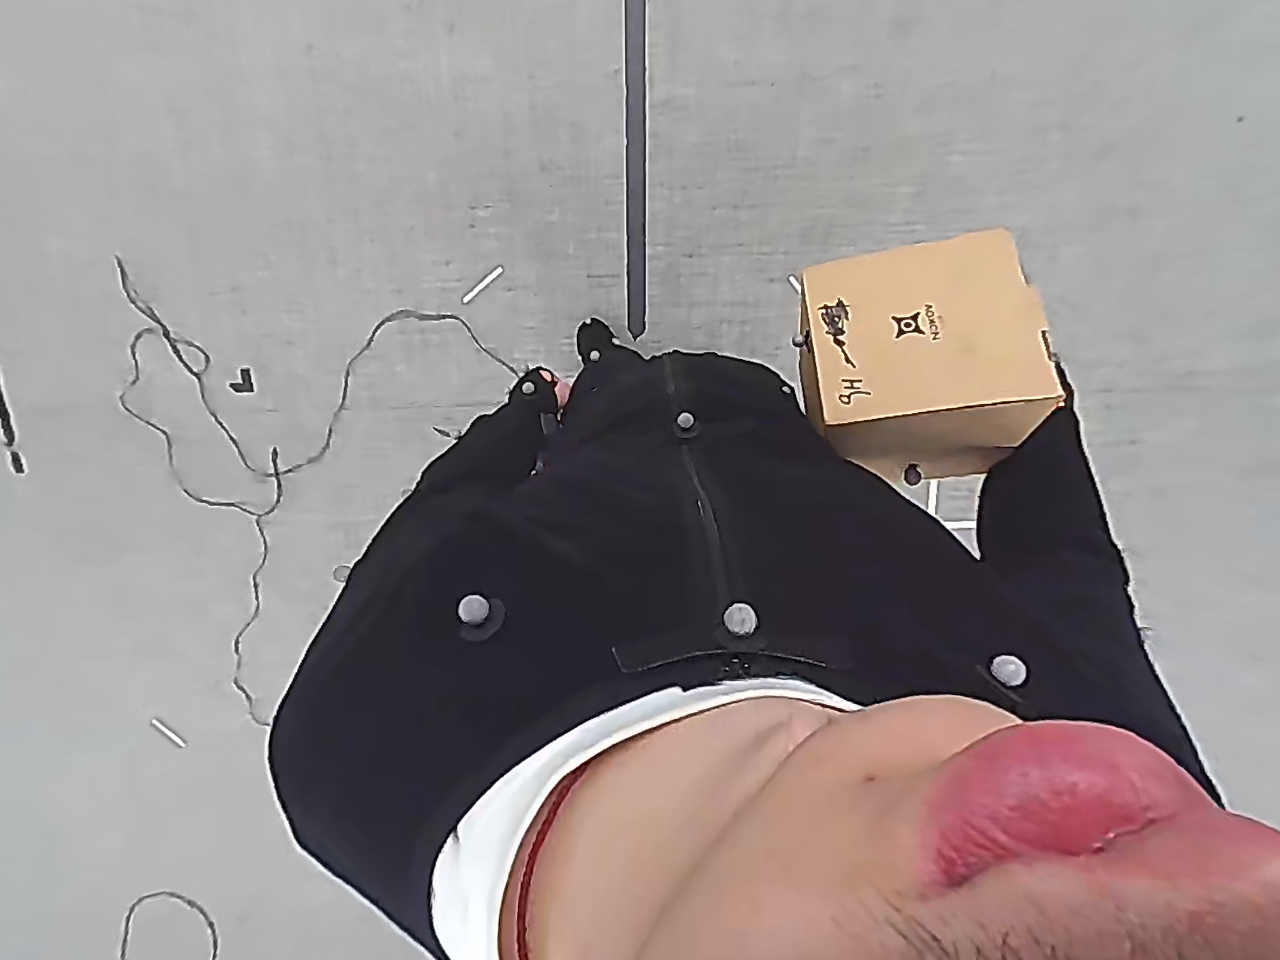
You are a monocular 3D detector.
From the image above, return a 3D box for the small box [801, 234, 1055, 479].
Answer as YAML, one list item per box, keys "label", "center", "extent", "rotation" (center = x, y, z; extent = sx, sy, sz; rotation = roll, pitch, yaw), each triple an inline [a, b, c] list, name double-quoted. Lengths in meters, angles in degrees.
- label: "small box"
  center: [0.262, -0.108, 0.543]
  extent: [0.179, 0.176, 0.168]
  rotation: [-6, 68, 13]
